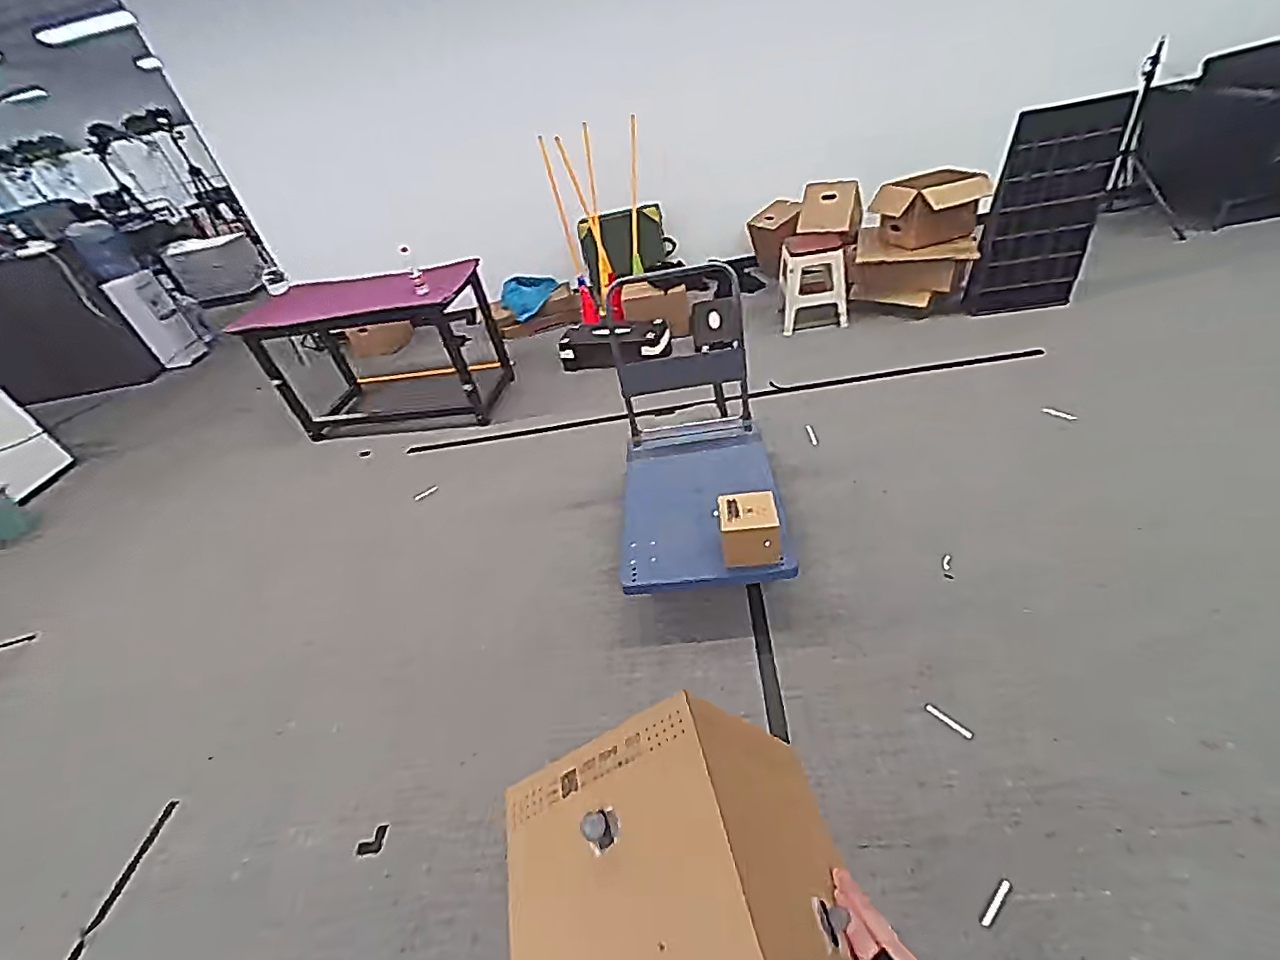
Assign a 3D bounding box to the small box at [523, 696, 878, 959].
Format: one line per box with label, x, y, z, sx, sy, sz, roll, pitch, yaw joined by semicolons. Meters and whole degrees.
small box;0.038;0.277;0.376;0.168;0.179;0.176;-36;39;15
